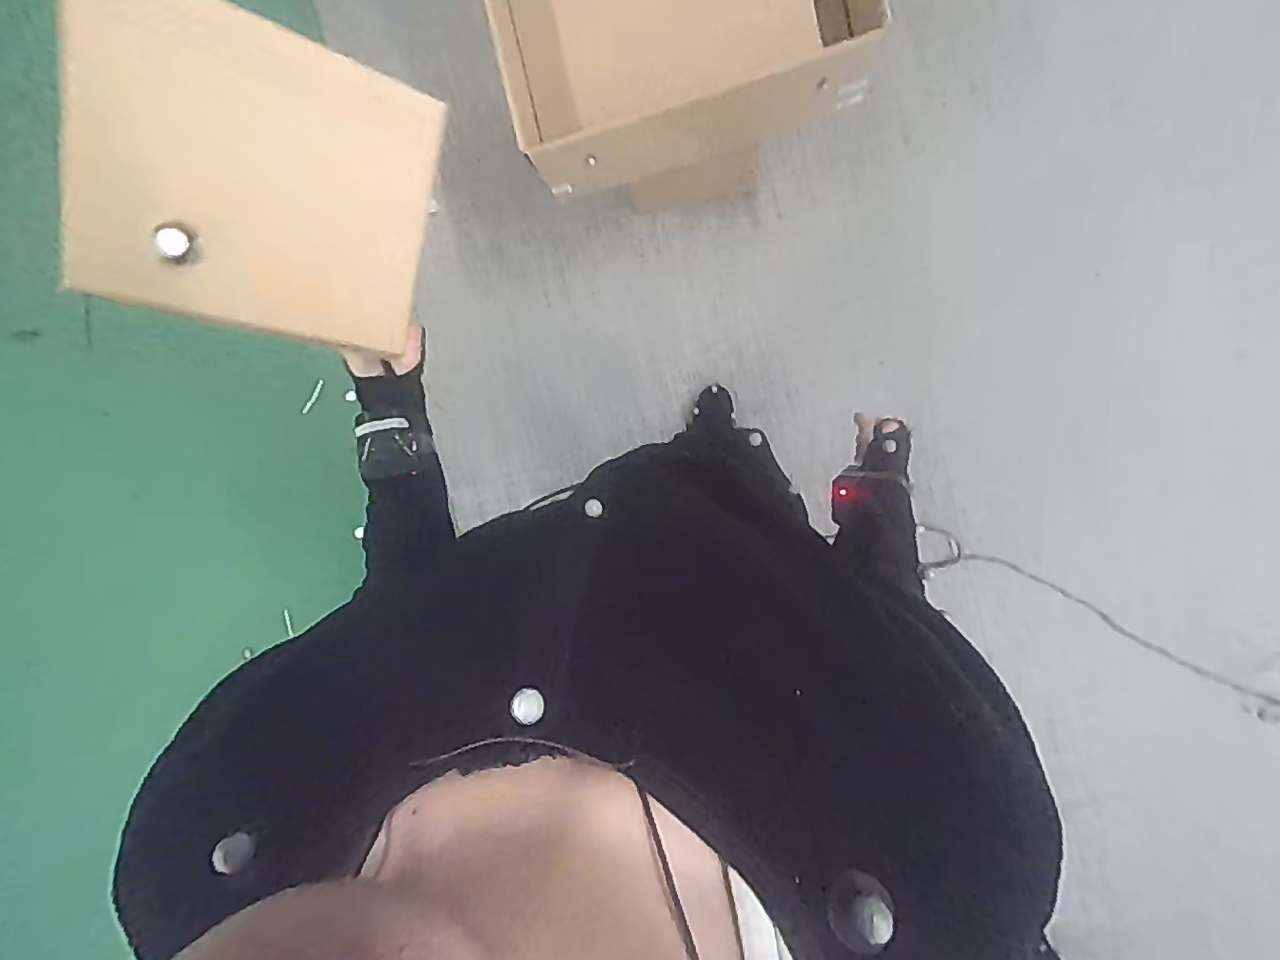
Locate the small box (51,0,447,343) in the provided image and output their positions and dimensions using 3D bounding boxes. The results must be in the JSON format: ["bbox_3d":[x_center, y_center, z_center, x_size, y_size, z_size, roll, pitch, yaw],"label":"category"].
[{"bbox_3d":[-0.253,-0.212,0.374,0.179,0.168,0.176,8,108,-35],"label":"small box"}]
